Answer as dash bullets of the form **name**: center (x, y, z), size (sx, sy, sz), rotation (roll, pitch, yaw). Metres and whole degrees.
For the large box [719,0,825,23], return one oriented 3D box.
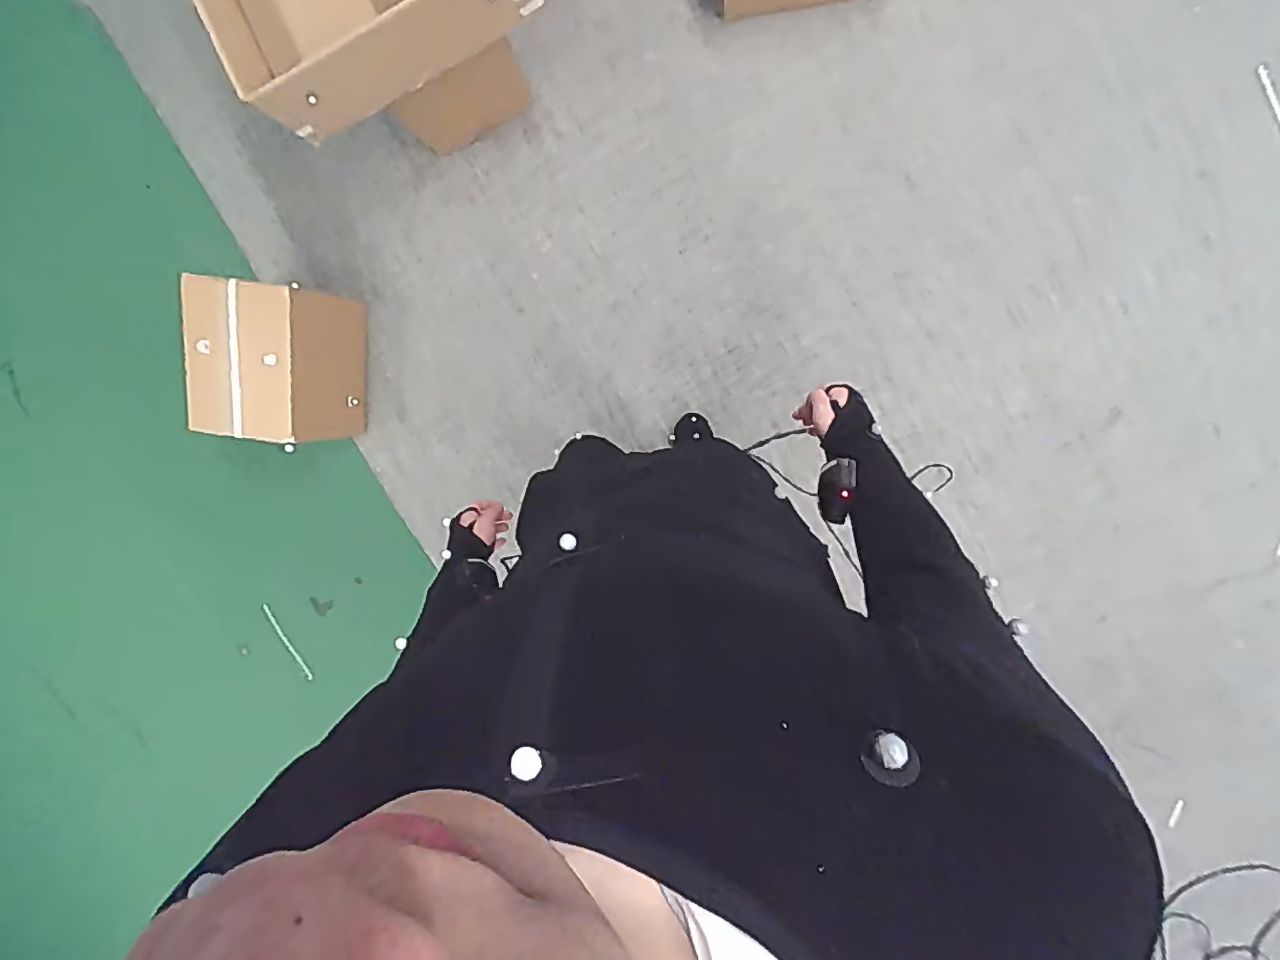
- **large box**: center (0.367, -1.303, 1.184), size (0.408, 0.320, 0.320), rotation (-5, 100, 9)
